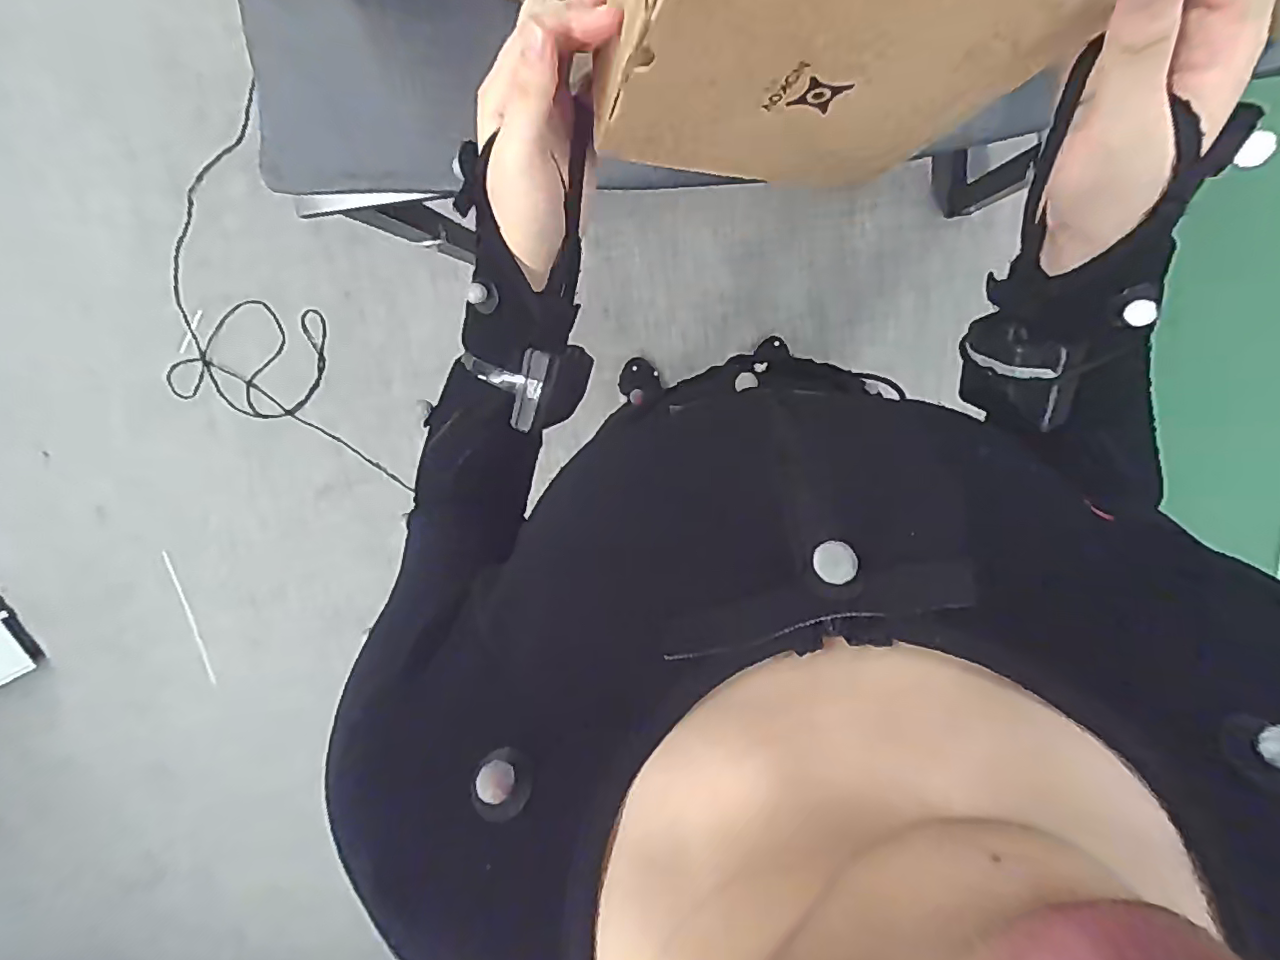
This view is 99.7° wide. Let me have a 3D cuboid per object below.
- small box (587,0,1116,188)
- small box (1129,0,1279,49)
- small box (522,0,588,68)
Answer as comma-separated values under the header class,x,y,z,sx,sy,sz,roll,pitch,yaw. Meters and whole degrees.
class,x,y,z,sx,sy,sz,roll,pitch,yaw
small box,0.076,-0.259,0.243,0.179,0.168,0.176,-1,97,-16
small box,0.597,-0.535,0.484,0.168,0.176,0.179,4,101,6
small box,-0.063,-0.562,0.539,0.168,0.176,0.179,-30,99,10
